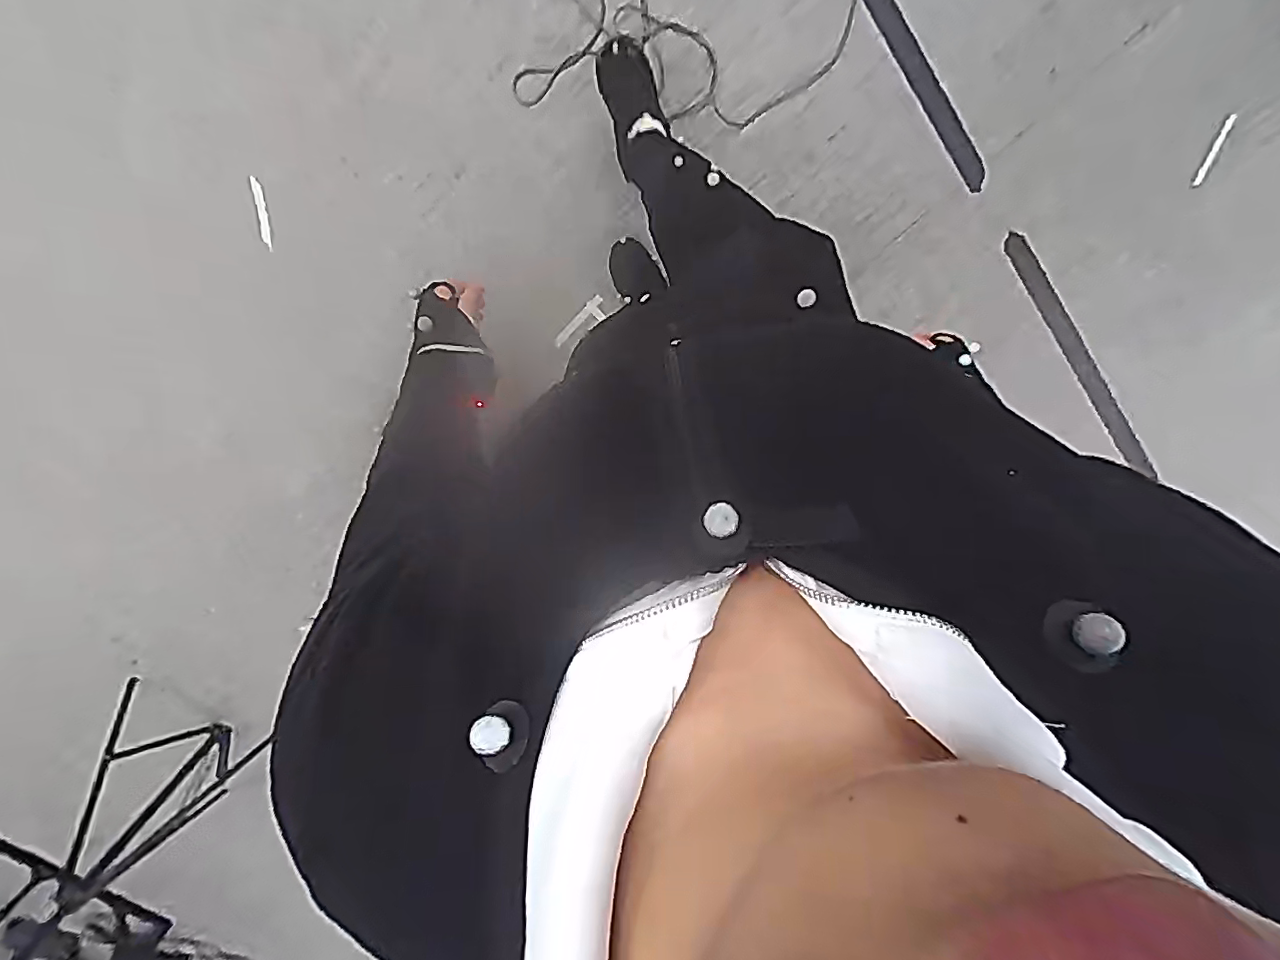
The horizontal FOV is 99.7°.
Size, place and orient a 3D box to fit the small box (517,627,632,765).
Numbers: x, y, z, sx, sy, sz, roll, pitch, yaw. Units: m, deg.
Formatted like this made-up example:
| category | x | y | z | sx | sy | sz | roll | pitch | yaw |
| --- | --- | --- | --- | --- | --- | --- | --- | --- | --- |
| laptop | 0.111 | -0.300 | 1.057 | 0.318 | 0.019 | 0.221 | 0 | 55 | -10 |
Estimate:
| category | x | y | z | sx | sy | sz | roll | pitch | yaw |
| --- | --- | --- | --- | --- | --- | --- | --- | --- | --- |
| small box | -0.133 | 0.456 | 1.156 | 0.168 | 0.176 | 0.179 | 40 | 104 | -17 |
